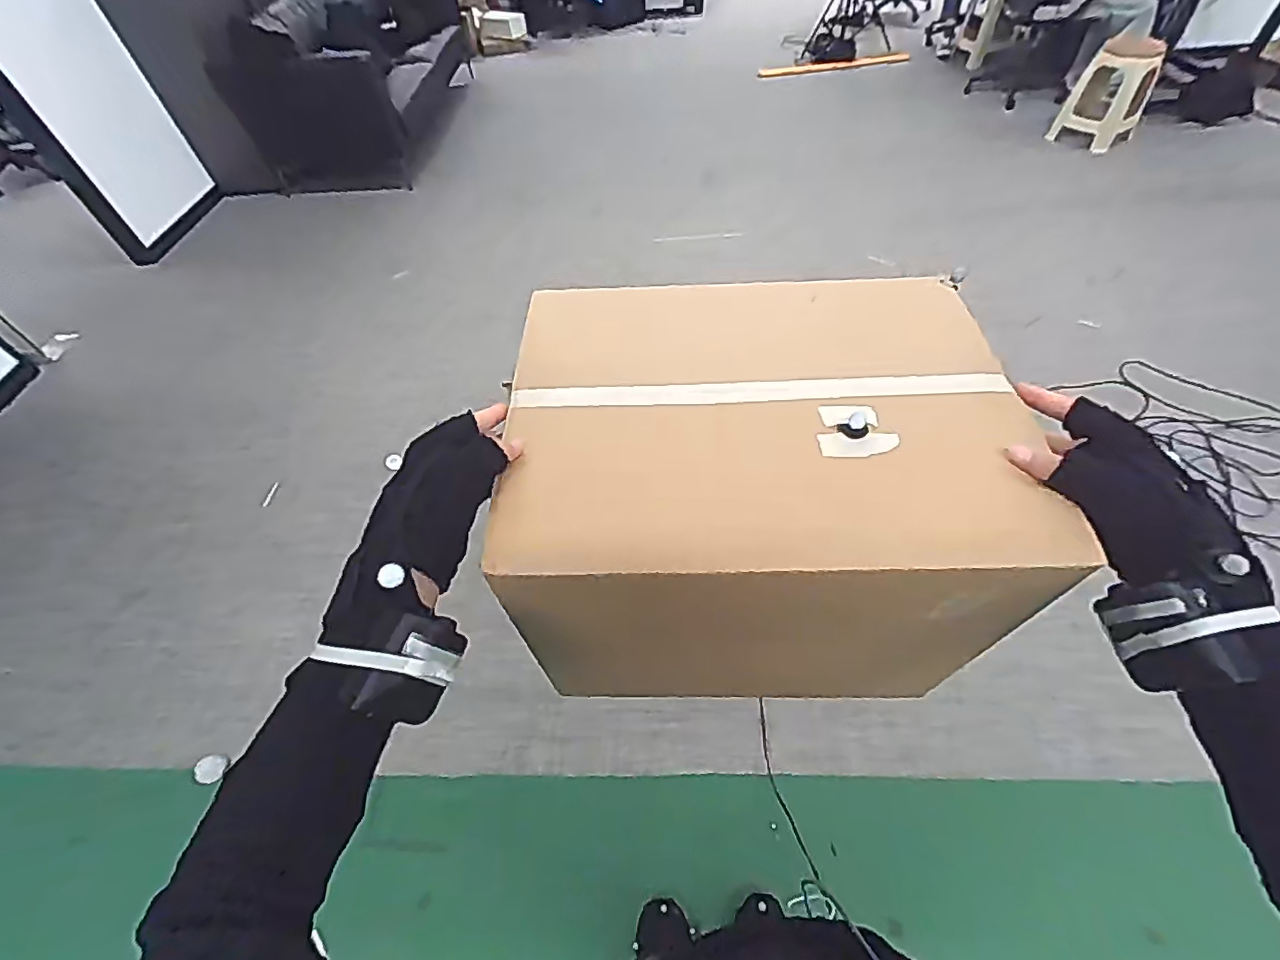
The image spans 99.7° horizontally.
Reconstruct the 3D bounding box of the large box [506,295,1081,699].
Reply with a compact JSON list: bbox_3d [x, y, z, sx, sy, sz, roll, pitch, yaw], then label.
[{"bbox_3d":[0.105,0.029,0.575,0.408,0.320,0.320,-1,54,1],"label":"large box"}]
